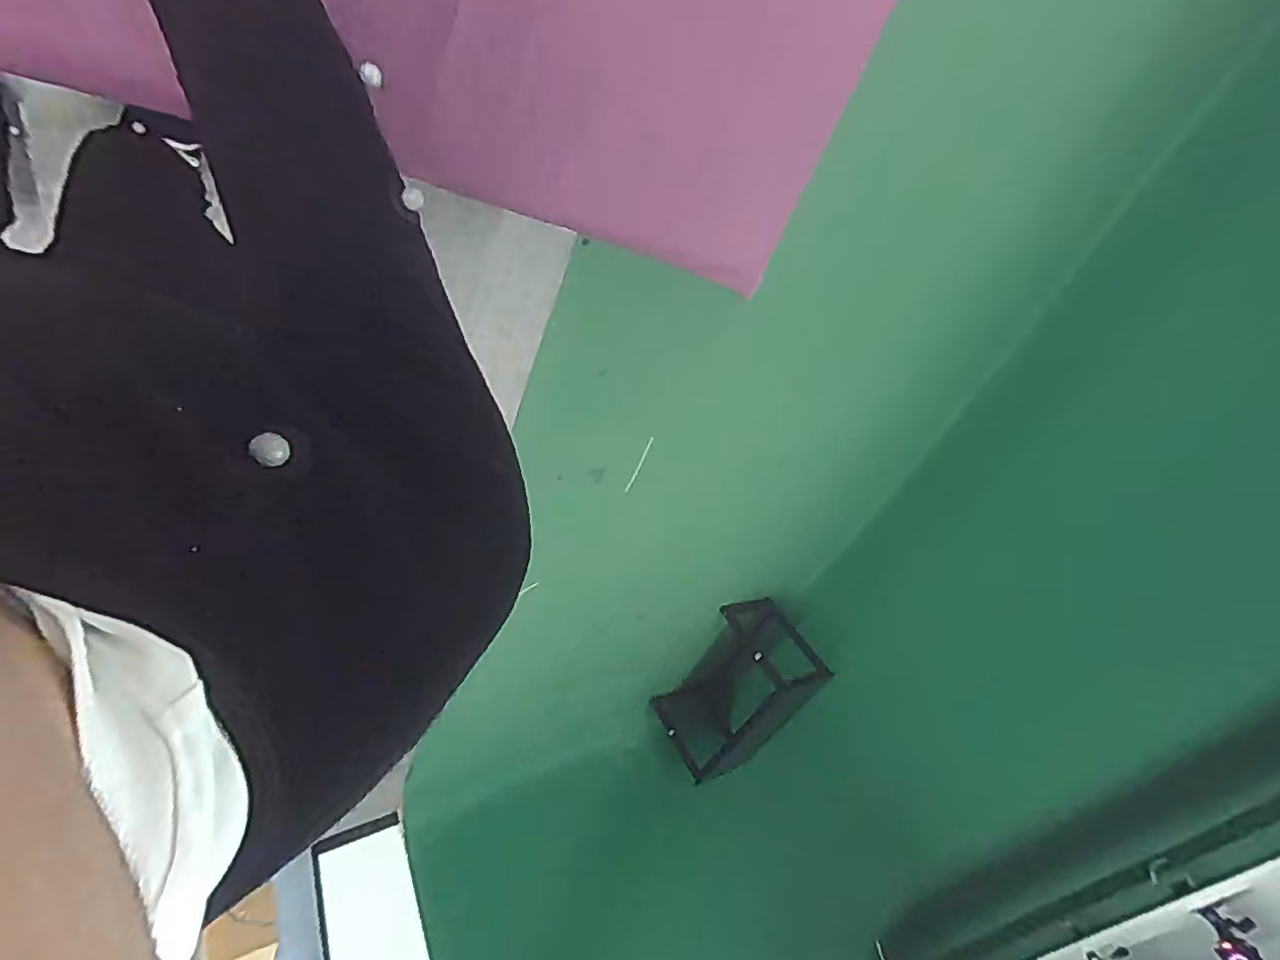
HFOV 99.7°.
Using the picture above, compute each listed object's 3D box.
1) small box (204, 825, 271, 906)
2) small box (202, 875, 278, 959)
[{"bbox_3d":[-1.282,1.239,1.724,0.168,0.176,0.179,-3,130,-35],"label":"small box"},{"bbox_3d":[-1.197,1.331,1.615,0.168,0.176,0.179,3,127,-41],"label":"small box"}]
